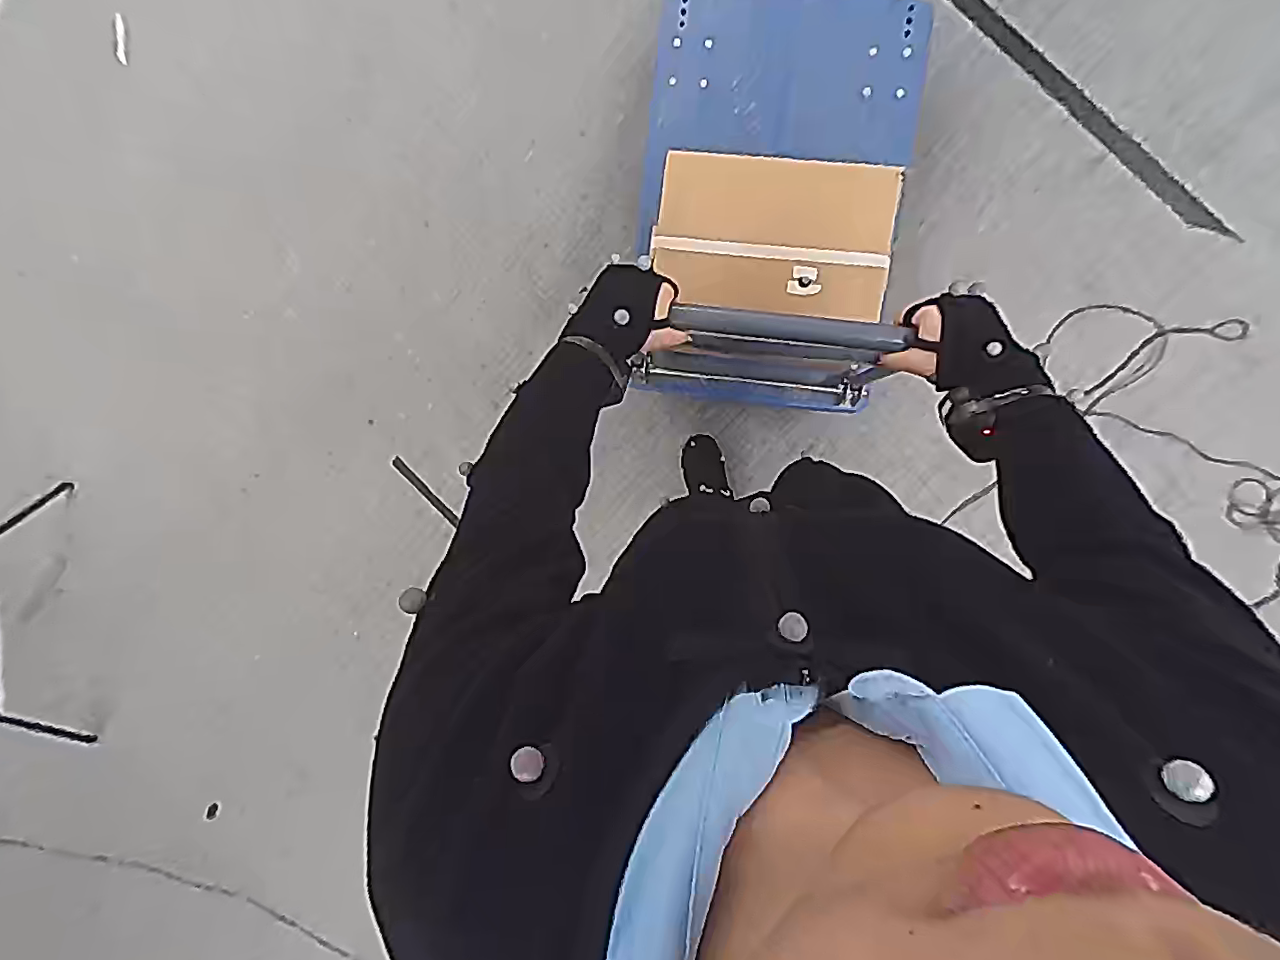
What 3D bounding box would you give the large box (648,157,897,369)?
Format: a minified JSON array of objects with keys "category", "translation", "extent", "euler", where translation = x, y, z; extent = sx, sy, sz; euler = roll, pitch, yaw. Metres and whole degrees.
[{"category":"large box","translation":[0.239,-0.411,1.099],"extent":[0.408,0.320,0.320],"euler":[8,98,5]}]
